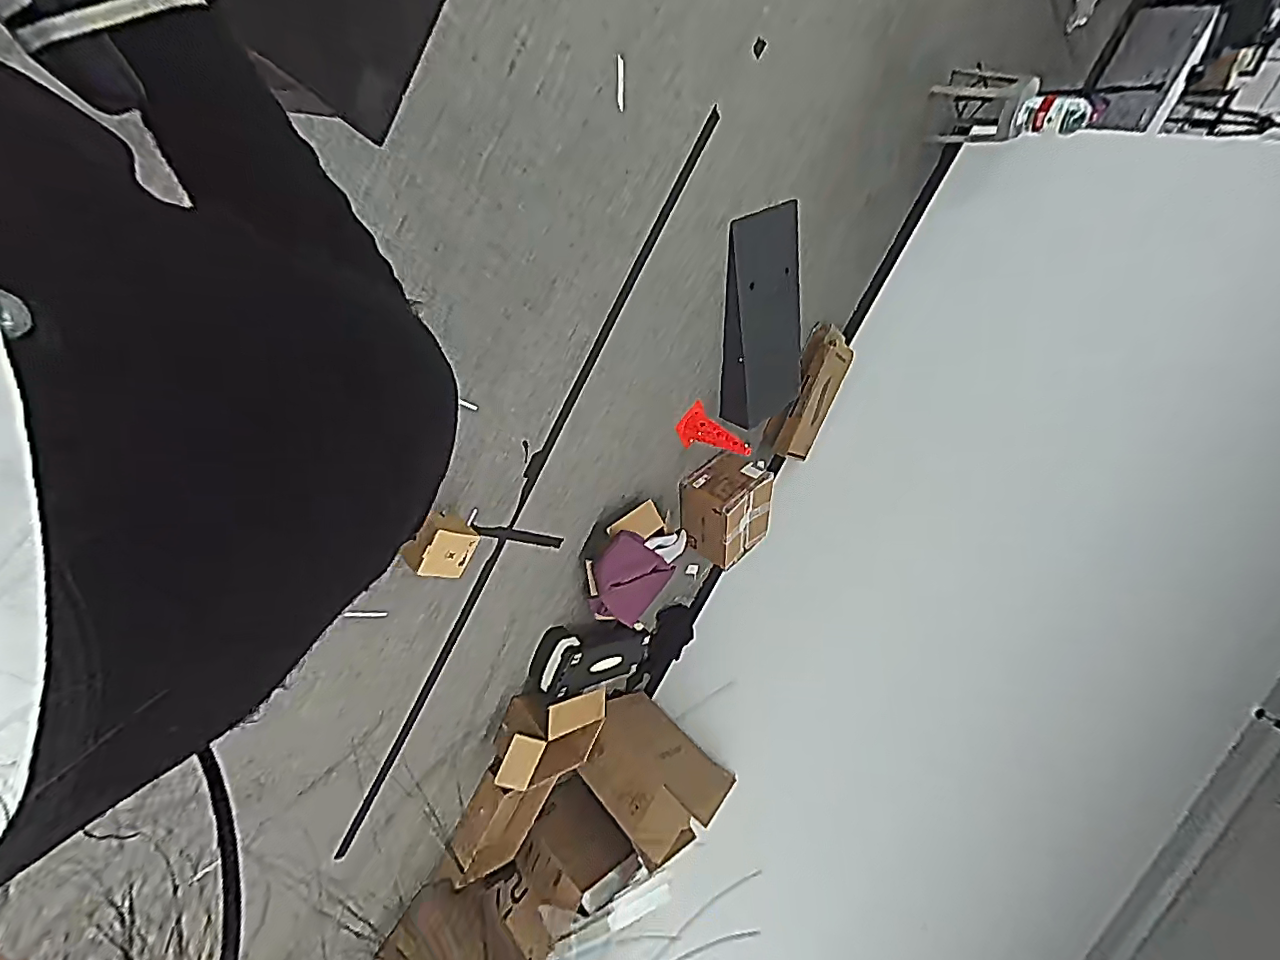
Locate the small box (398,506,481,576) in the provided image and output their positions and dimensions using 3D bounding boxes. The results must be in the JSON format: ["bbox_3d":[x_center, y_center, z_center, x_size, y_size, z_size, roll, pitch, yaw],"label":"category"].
[{"bbox_3d":[-0.677,0.201,1.812,0.179,0.176,0.168,23,98,-54],"label":"small box"}]
